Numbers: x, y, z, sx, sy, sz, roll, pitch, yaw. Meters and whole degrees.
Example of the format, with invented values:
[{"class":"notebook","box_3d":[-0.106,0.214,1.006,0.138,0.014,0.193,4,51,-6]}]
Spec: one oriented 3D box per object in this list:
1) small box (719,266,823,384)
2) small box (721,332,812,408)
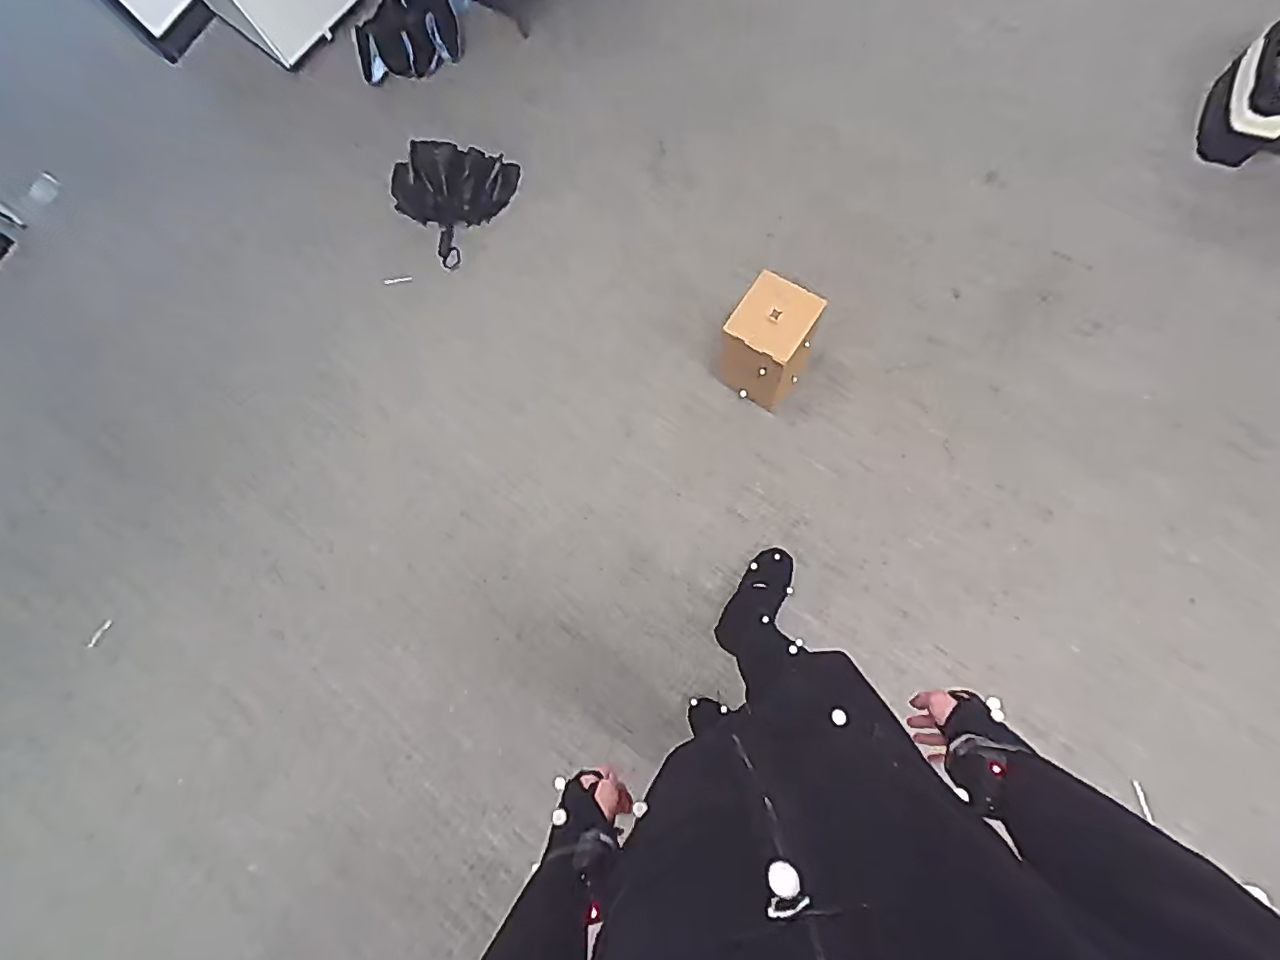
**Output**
[{"class":"small box","box_3d":[0.300,-0.354,1.267,0.168,0.176,0.179,32,83,13]},{"class":"small box","box_3d":[0.325,-0.321,1.424,0.168,0.176,0.179,33,85,14]}]
